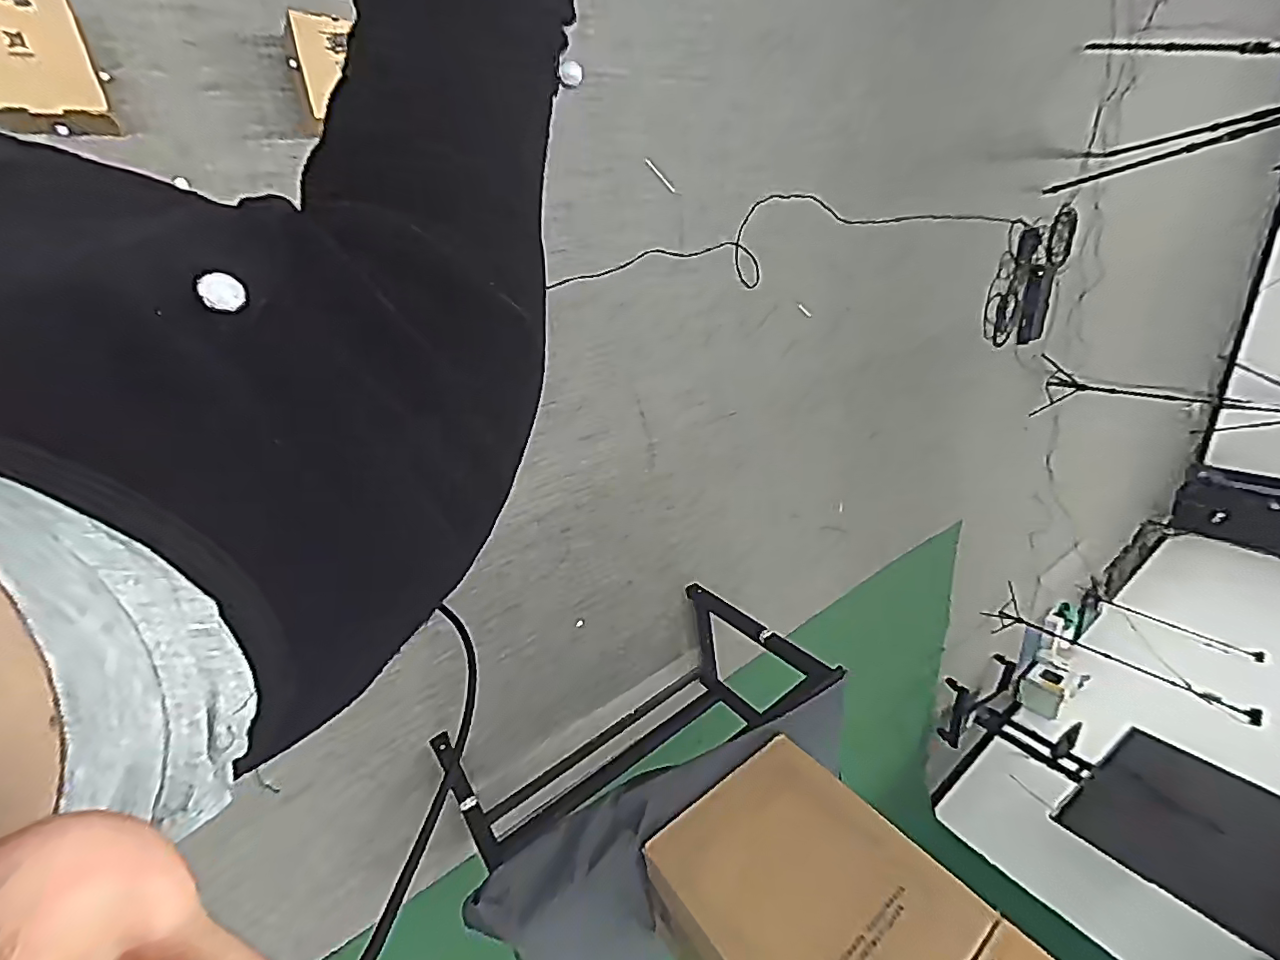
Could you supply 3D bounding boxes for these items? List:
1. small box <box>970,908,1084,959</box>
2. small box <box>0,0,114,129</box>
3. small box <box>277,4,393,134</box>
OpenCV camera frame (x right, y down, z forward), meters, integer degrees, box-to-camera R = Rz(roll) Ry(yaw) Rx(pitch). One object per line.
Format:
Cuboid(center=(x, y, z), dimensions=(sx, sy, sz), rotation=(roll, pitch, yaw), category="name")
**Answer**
Cuboid(center=(0.799, 1.049, 1.123), dimensions=(0.168, 0.176, 0.179), rotation=(-22, 119, -30), category="small box")
Cuboid(center=(-1.030, -0.704, 0.903), dimensions=(0.168, 0.176, 0.179), rotation=(-20, 117, -30), category="small box")
Cuboid(center=(-0.644, -0.852, 1.139), dimensions=(0.168, 0.176, 0.179), rotation=(-19, 118, -30), category="small box")
